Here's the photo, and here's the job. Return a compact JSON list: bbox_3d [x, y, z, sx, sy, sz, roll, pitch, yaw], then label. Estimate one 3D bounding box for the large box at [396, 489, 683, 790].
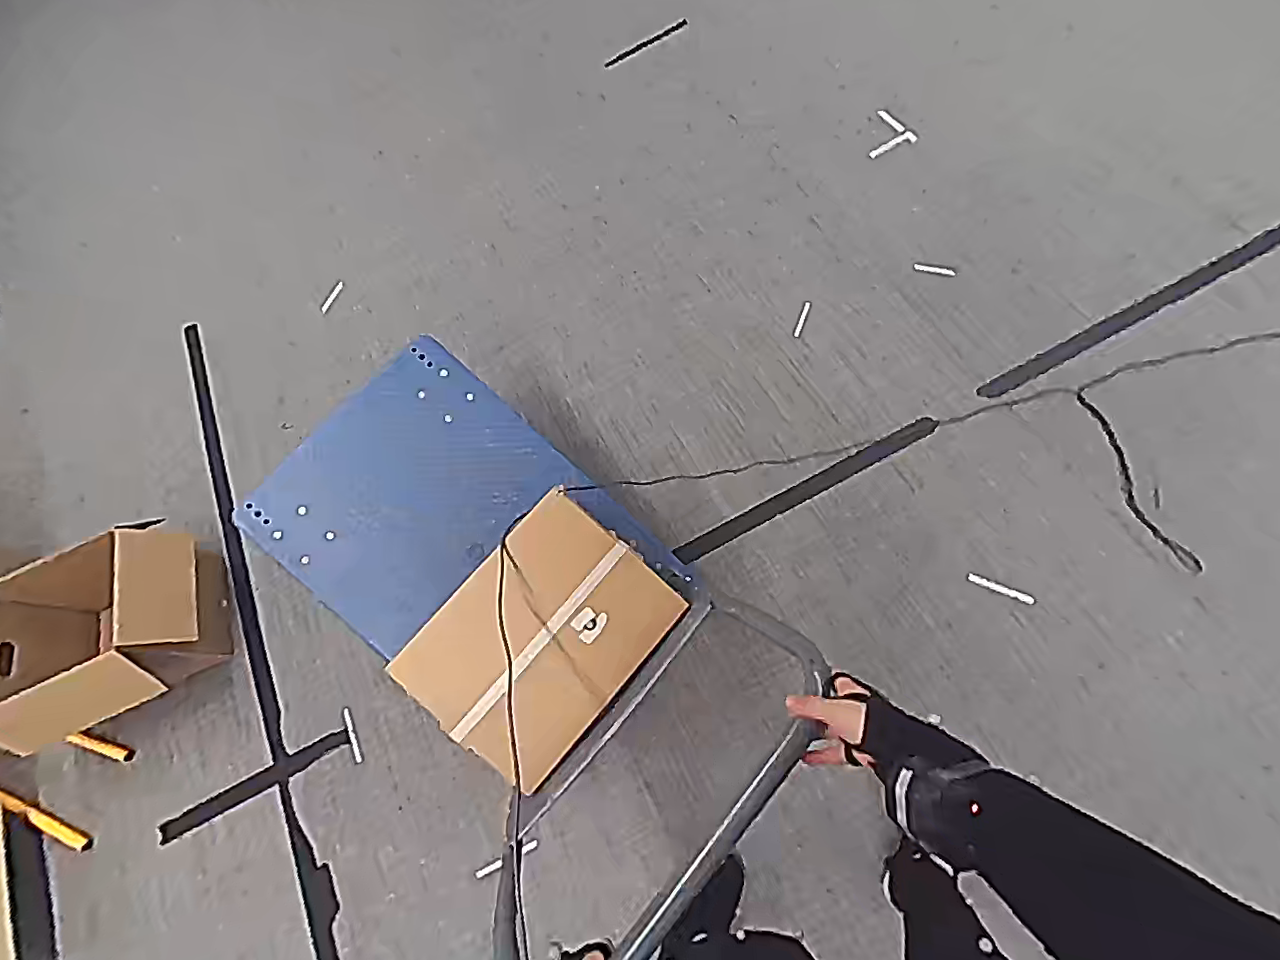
[{"bbox_3d":[-0.181,0.282,1.057,0.320,0.320,0.408,41,79,-2],"label":"large box"}]
